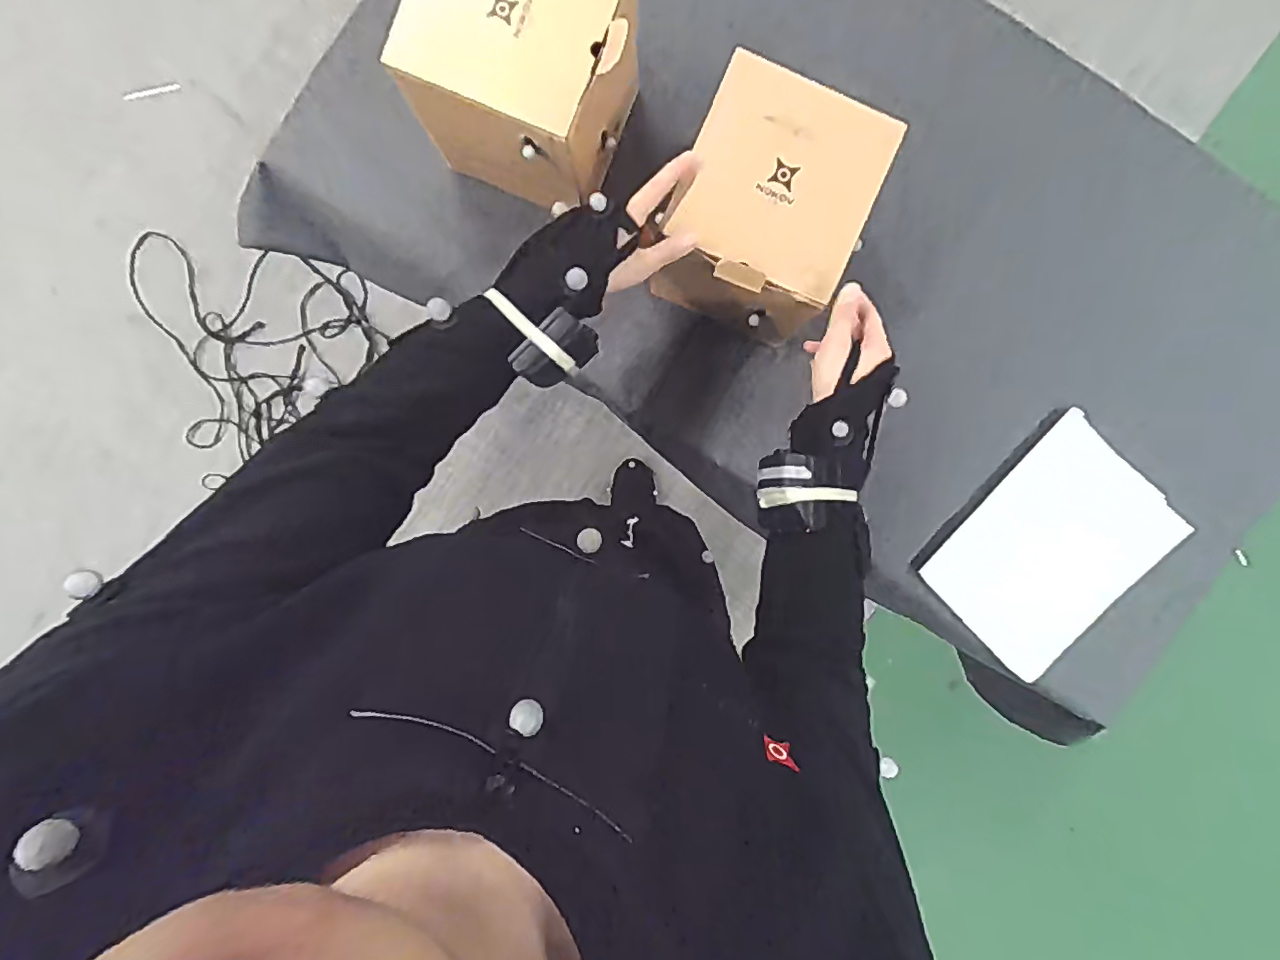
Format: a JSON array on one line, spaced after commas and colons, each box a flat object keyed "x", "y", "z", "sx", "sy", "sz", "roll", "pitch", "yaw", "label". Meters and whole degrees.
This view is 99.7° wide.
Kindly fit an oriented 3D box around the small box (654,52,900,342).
[{"x": 0.120, "y": -0.262, "z": 0.550, "sx": 0.168, "sy": 0.176, "sz": 0.179, "roll": 23, "pitch": 90, "yaw": -2, "label": "small box"}]

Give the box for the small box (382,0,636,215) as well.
[{"x": -0.114, "y": -0.401, "z": 0.543, "sx": 0.179, "sy": 0.176, "sz": 0.168, "roll": 21, "pitch": 91, "yaw": -2, "label": "small box"}]
